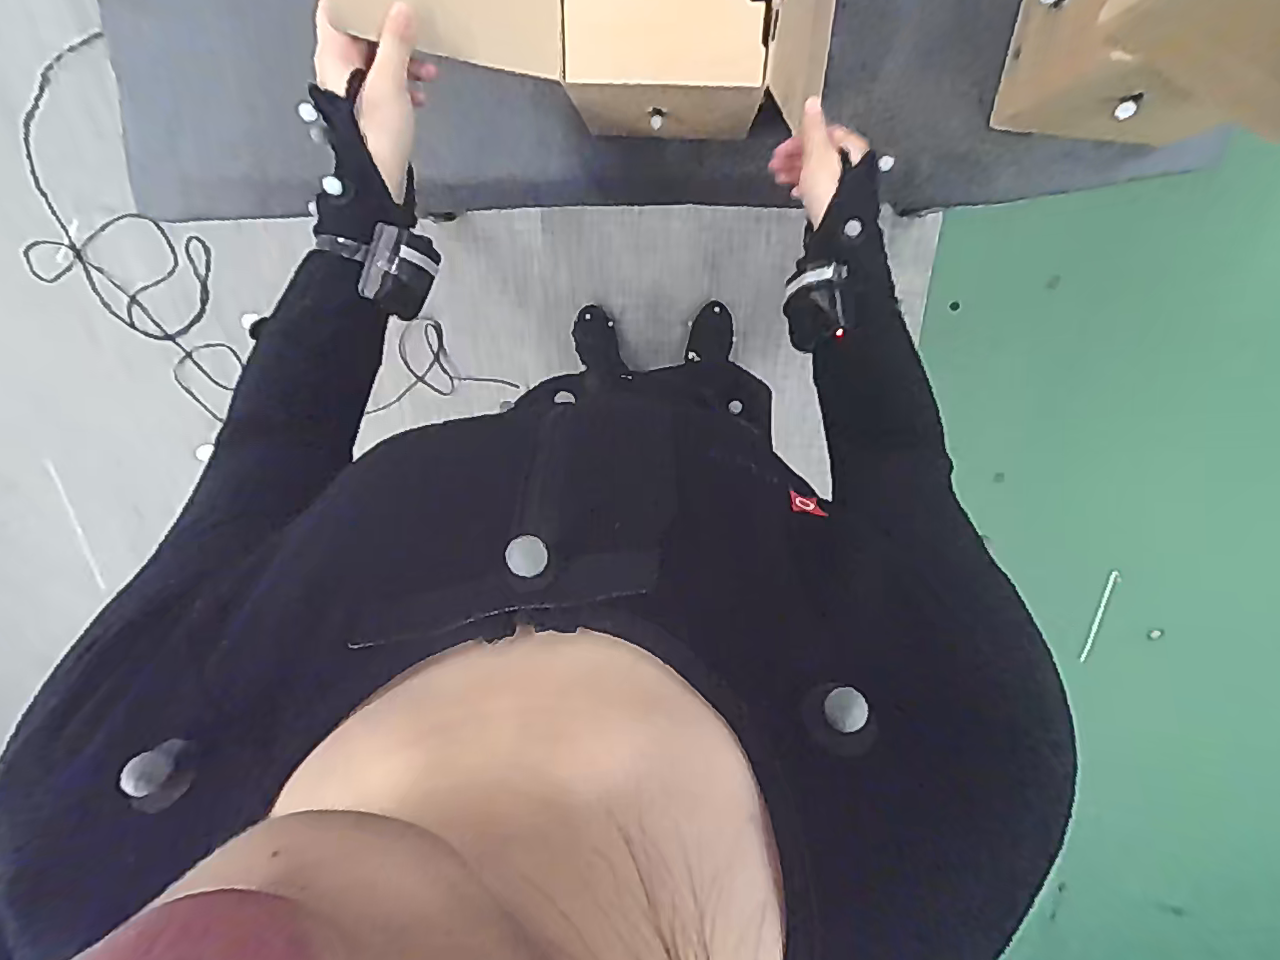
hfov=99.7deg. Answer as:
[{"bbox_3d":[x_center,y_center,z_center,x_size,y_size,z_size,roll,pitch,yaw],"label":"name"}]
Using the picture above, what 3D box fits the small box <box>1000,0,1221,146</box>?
[{"bbox_3d":[0.458,-0.409,0.467,0.179,0.176,0.168,8,108,3],"label":"small box"}]
